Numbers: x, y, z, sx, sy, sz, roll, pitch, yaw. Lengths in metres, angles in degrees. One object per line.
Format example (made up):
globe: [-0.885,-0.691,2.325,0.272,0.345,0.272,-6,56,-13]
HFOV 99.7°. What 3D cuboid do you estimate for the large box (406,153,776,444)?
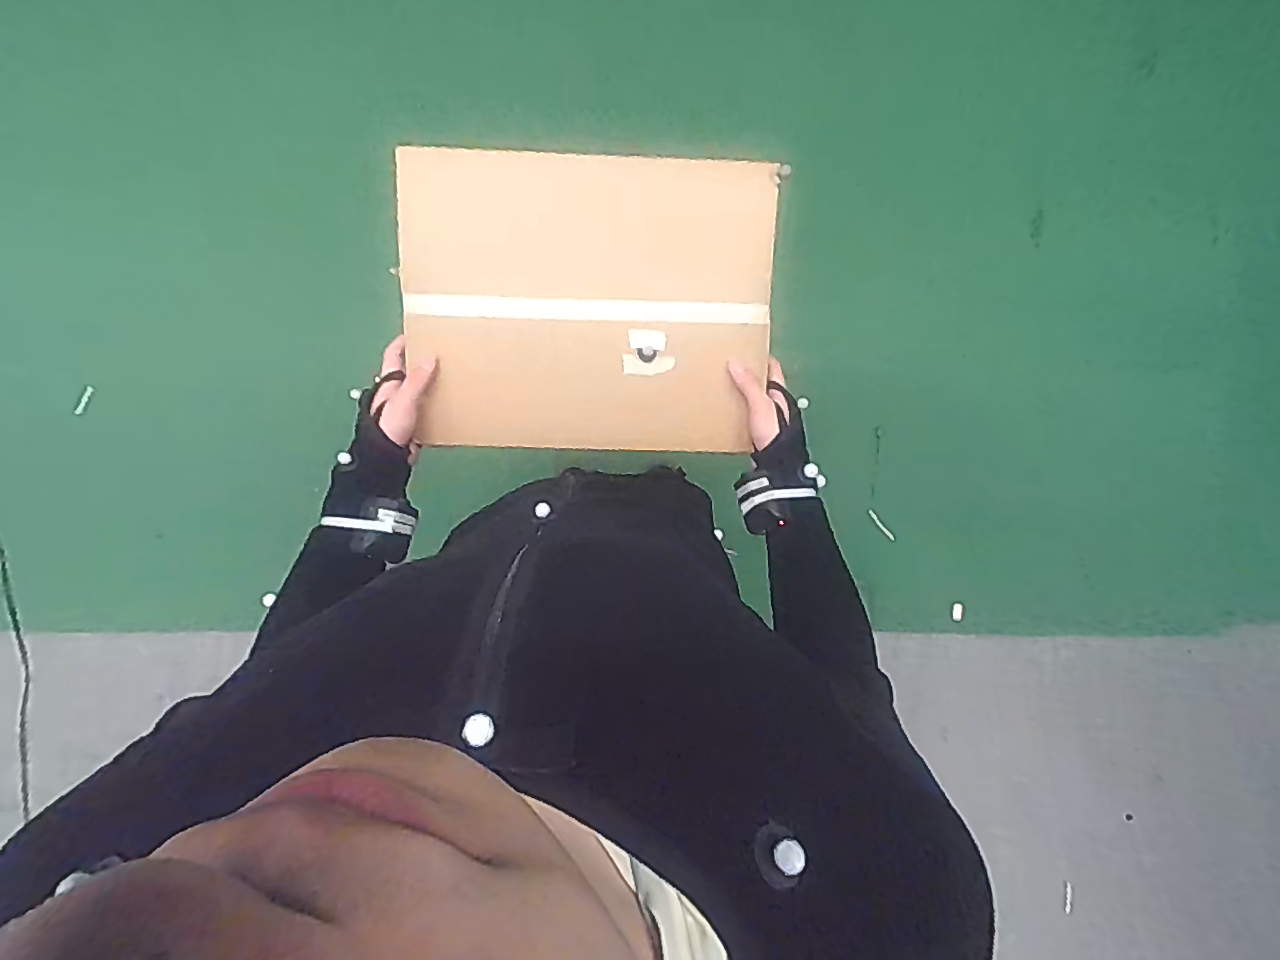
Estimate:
large box: [-0.059,-0.223,0.752,0.408,0.320,0.320,0,102,-3]
